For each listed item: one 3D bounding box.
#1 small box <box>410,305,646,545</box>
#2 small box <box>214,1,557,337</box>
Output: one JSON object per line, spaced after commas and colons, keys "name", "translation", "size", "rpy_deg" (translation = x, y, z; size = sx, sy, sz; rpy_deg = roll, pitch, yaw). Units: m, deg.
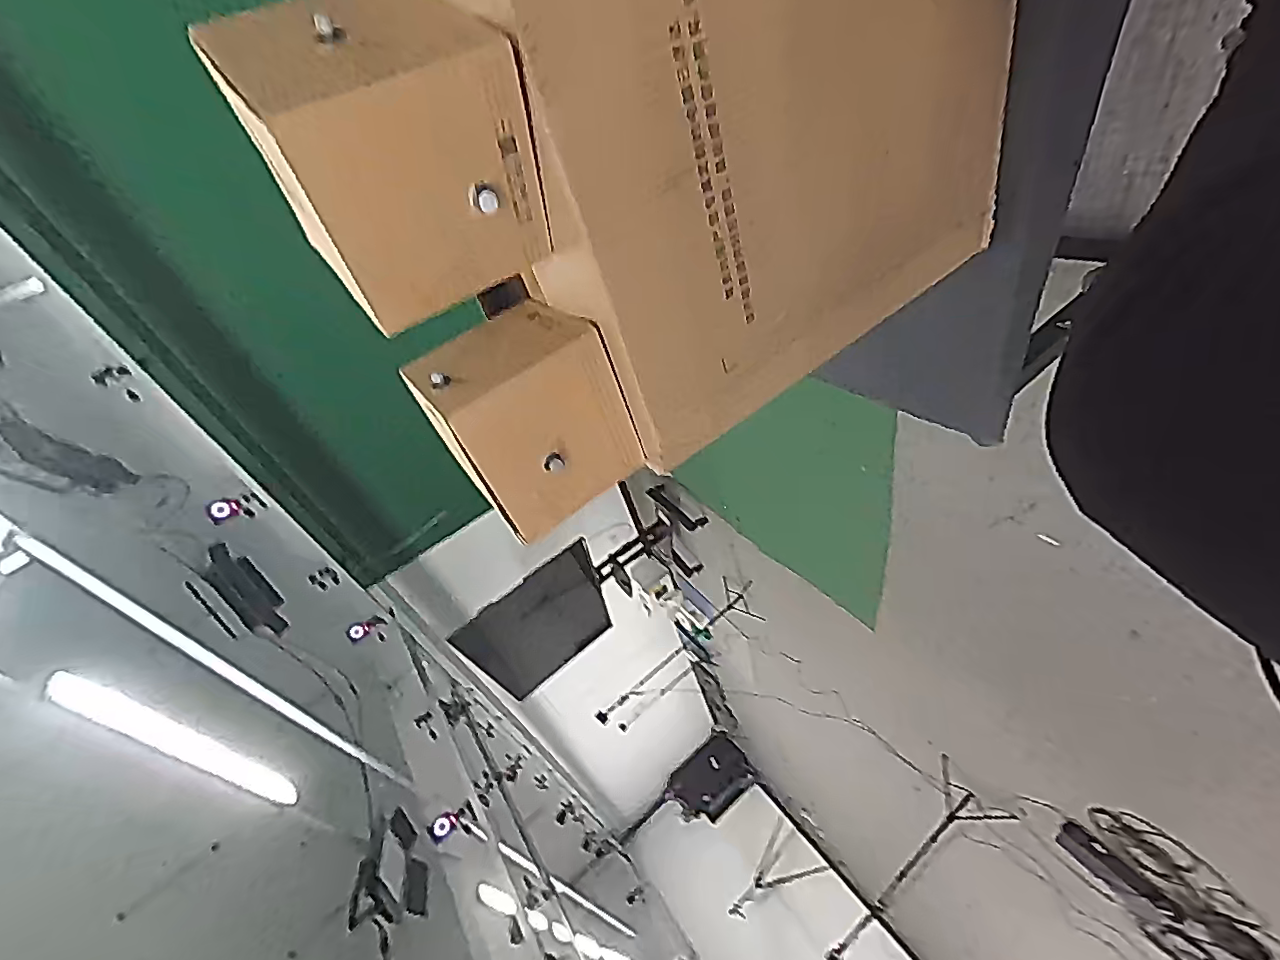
{"name": "small box", "translation": [-0.118, -0.068, 0.607], "size": [0.168, 0.176, 0.179], "rpy_deg": [34, 155, 47]}
{"name": "small box", "translation": [-0.192, -0.260, 0.449], "size": [0.179, 0.176, 0.168], "rpy_deg": [46, 160, 26]}
